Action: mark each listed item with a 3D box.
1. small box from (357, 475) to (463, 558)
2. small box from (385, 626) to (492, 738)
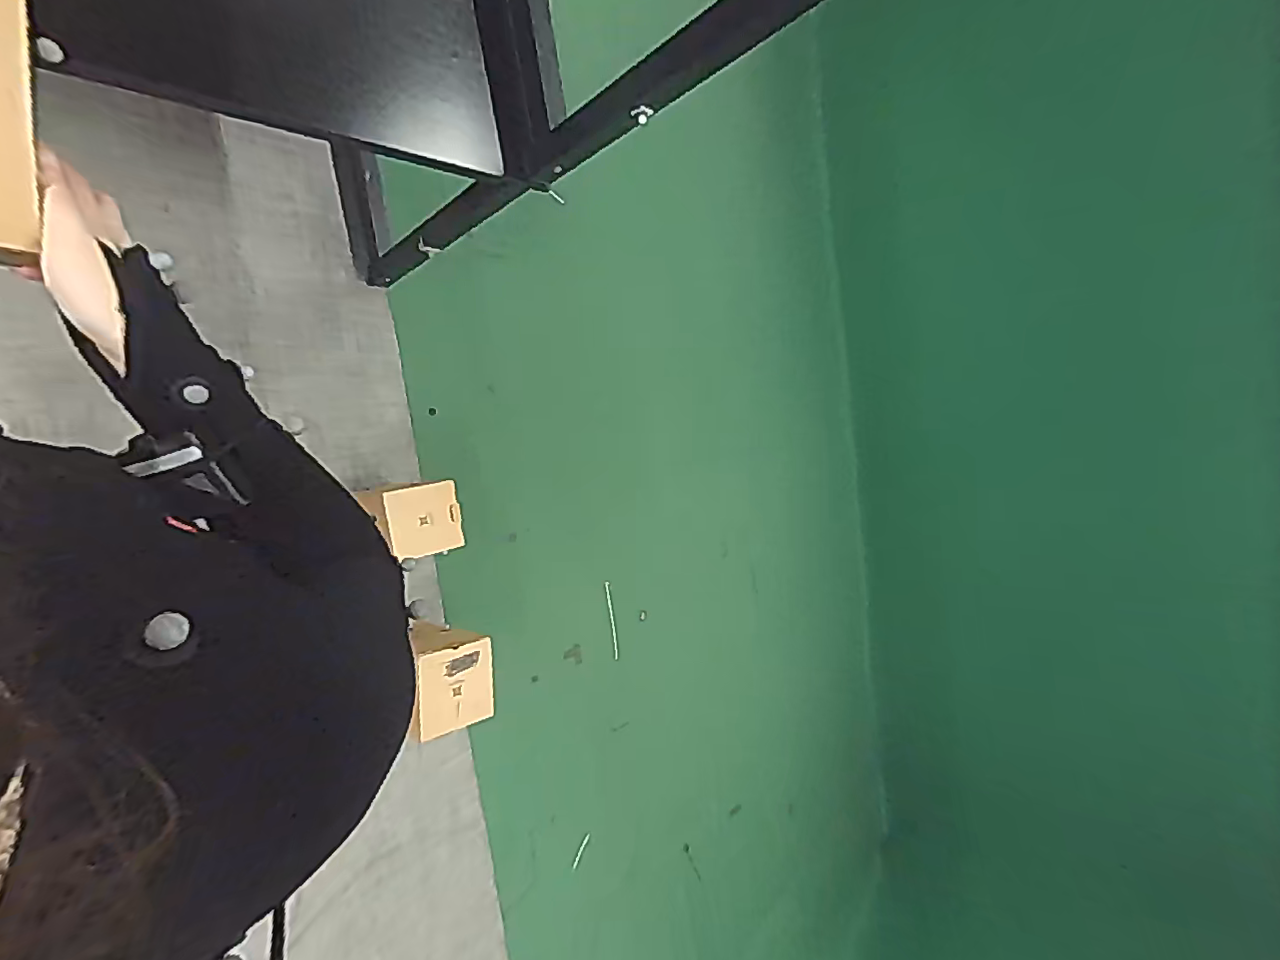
[{"bbox_3d":[-0.558,0.086,1.301,0.179,0.176,0.168,-15,99,-47],"label":"small box"},{"bbox_3d":[-0.439,0.424,1.174,0.168,0.176,0.179,-2,90,-46],"label":"small box"}]
